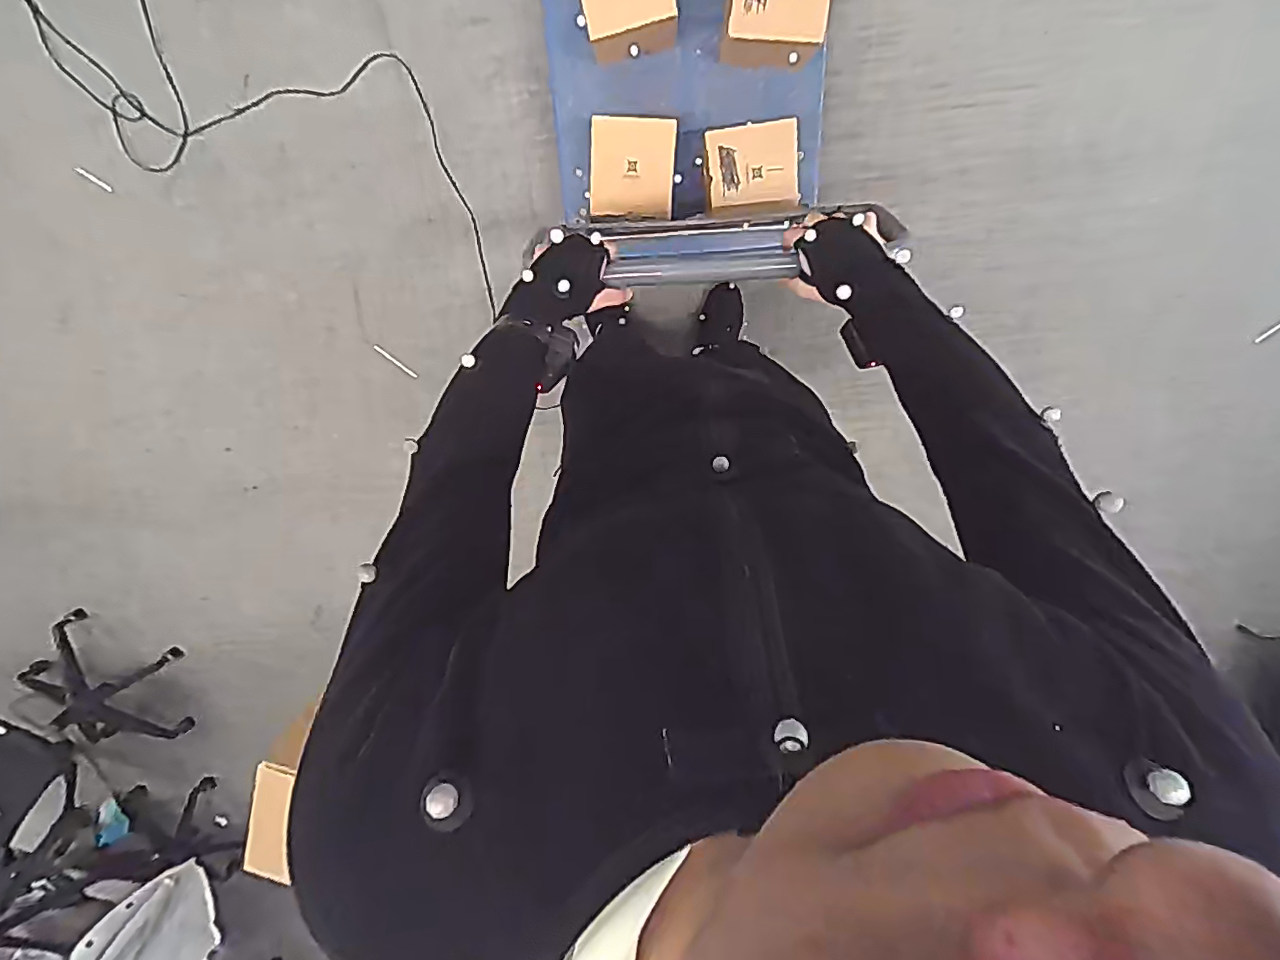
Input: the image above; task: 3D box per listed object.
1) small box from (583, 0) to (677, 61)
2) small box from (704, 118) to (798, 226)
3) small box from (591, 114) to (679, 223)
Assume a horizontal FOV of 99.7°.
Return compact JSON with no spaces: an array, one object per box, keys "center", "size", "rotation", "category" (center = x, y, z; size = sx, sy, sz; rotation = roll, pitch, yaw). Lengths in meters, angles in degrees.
[{"center":[-0.024,-0.925,1.016],"size":[0.168,0.176,0.179],"rotation":[-10,112,6],"category":"small box"},{"center":[0.226,-0.631,1.128],"size":[0.179,0.176,0.168],"rotation":[-5,113,5],"category":"small box"},{"center":[-0.011,-0.645,1.136],"size":[0.168,0.176,0.179],"rotation":[4,114,0],"category":"small box"}]
